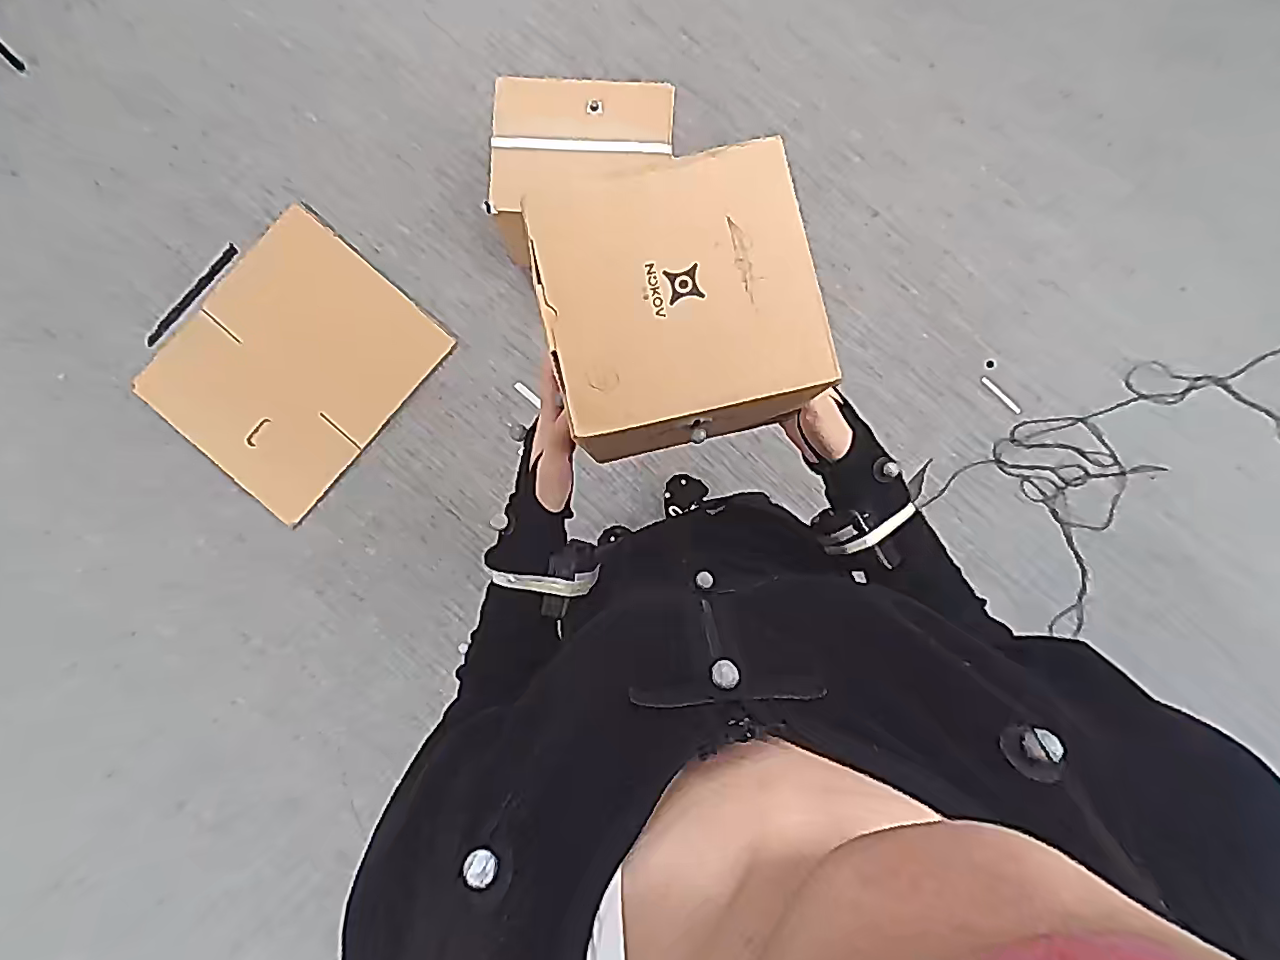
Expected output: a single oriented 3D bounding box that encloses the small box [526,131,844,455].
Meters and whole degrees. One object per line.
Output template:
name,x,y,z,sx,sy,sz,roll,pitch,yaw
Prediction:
small box,0.029,-0.122,0.423,0.179,0.176,0.168,-14,87,0
